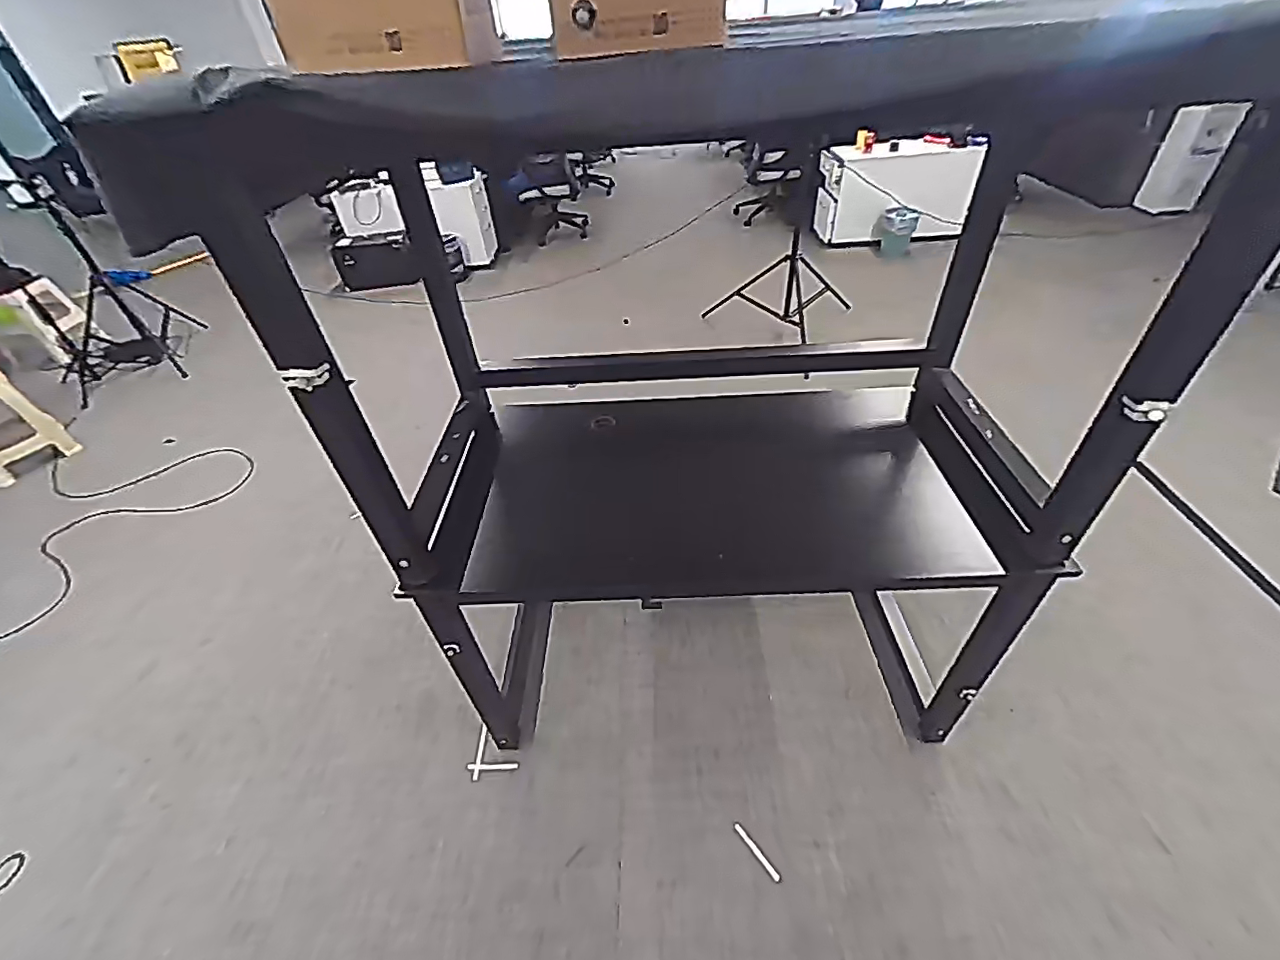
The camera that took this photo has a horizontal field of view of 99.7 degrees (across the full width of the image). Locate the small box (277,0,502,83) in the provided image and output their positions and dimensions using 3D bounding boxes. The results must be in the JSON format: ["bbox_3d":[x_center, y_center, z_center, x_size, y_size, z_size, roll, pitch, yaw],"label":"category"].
[{"bbox_3d":[-0.240,-0.490,0.518,0.168,0.176,0.179,-2,39,2],"label":"small box"}]

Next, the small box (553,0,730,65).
[{"bbox_3d":[0.001,-0.519,0.526,0.168,0.176,0.179,-1,39,4],"label":"small box"}]
